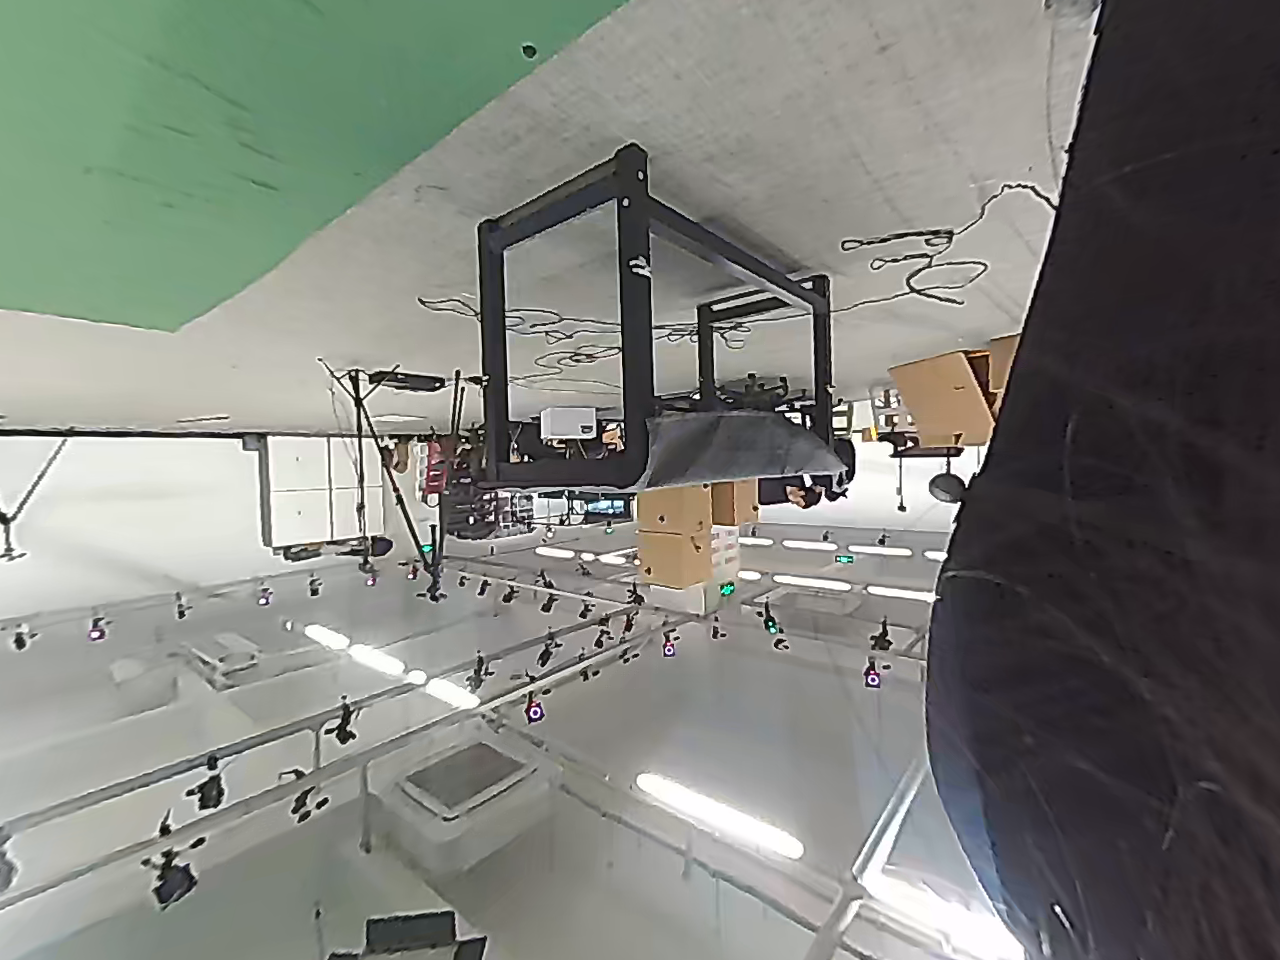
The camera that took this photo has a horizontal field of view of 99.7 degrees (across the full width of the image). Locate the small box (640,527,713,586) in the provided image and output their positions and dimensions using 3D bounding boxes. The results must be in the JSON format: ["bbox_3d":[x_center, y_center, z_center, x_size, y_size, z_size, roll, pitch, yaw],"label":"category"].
[{"bbox_3d":[0.117,0.230,1.720,0.179,0.176,0.168,-1,-177,42],"label":"small box"}]

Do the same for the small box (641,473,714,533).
[{"bbox_3d":[0.115,0.067,1.695,0.179,0.176,0.168,1,-177,41],"label":"small box"}]
